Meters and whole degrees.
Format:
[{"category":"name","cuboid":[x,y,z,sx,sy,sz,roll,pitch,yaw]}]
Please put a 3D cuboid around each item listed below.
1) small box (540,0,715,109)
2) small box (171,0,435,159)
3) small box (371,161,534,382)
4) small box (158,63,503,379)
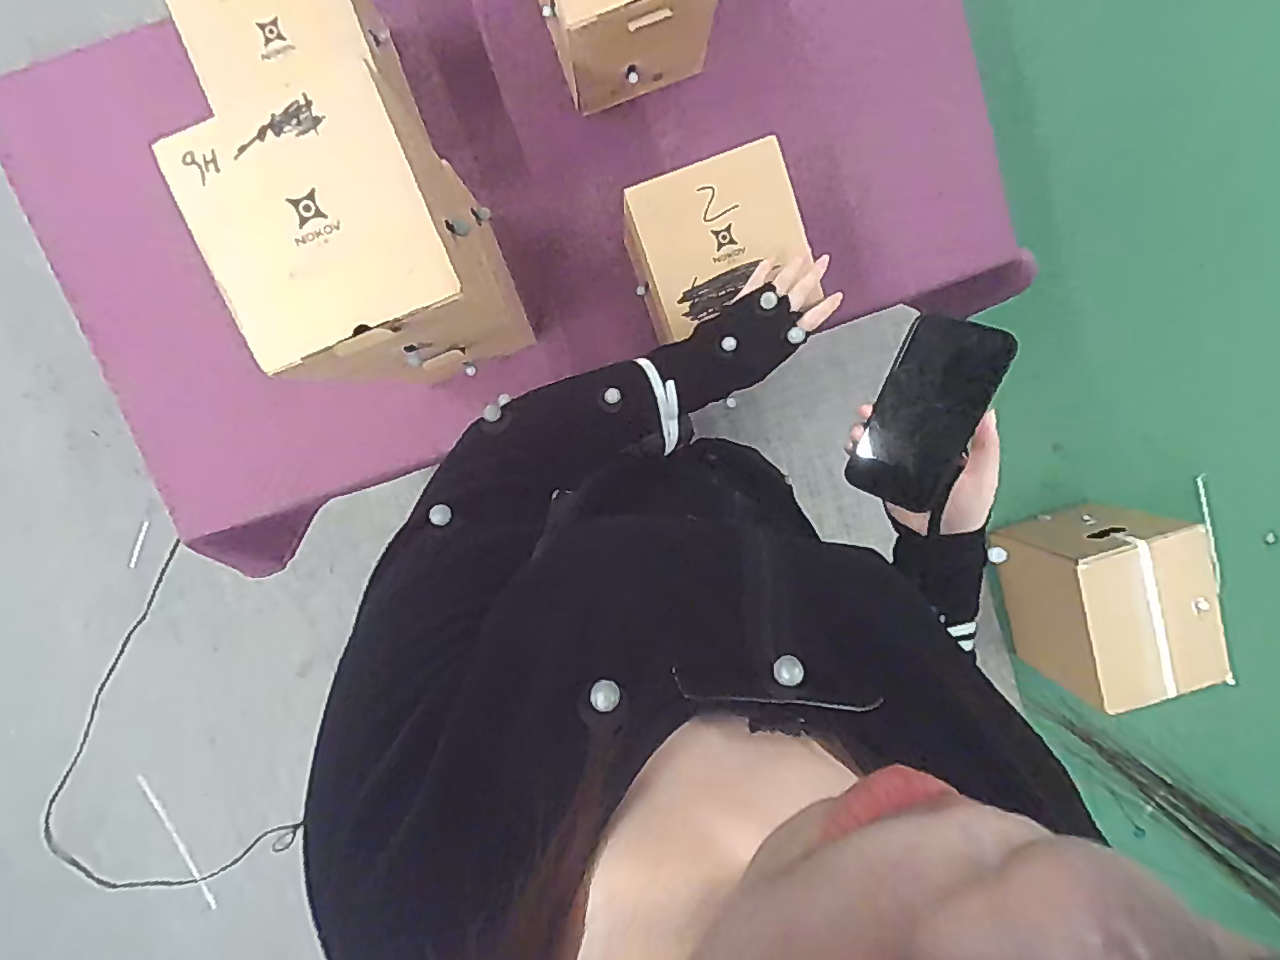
[{"category":"small box","cuboid":[-0.028,-0.562,0.593,0.168,0.176,0.179,-21,99,2]},{"category":"small box","cuboid":[-0.354,-0.438,0.603,0.168,0.176,0.179,-19,98,0]},{"category":"small box","cuboid":[-0.241,-0.225,0.635,0.168,0.176,0.179,-21,98,2]},{"category":"small box","cuboid":[-0.239,-0.198,0.473,0.168,0.176,0.179,-22,99,1]}]
